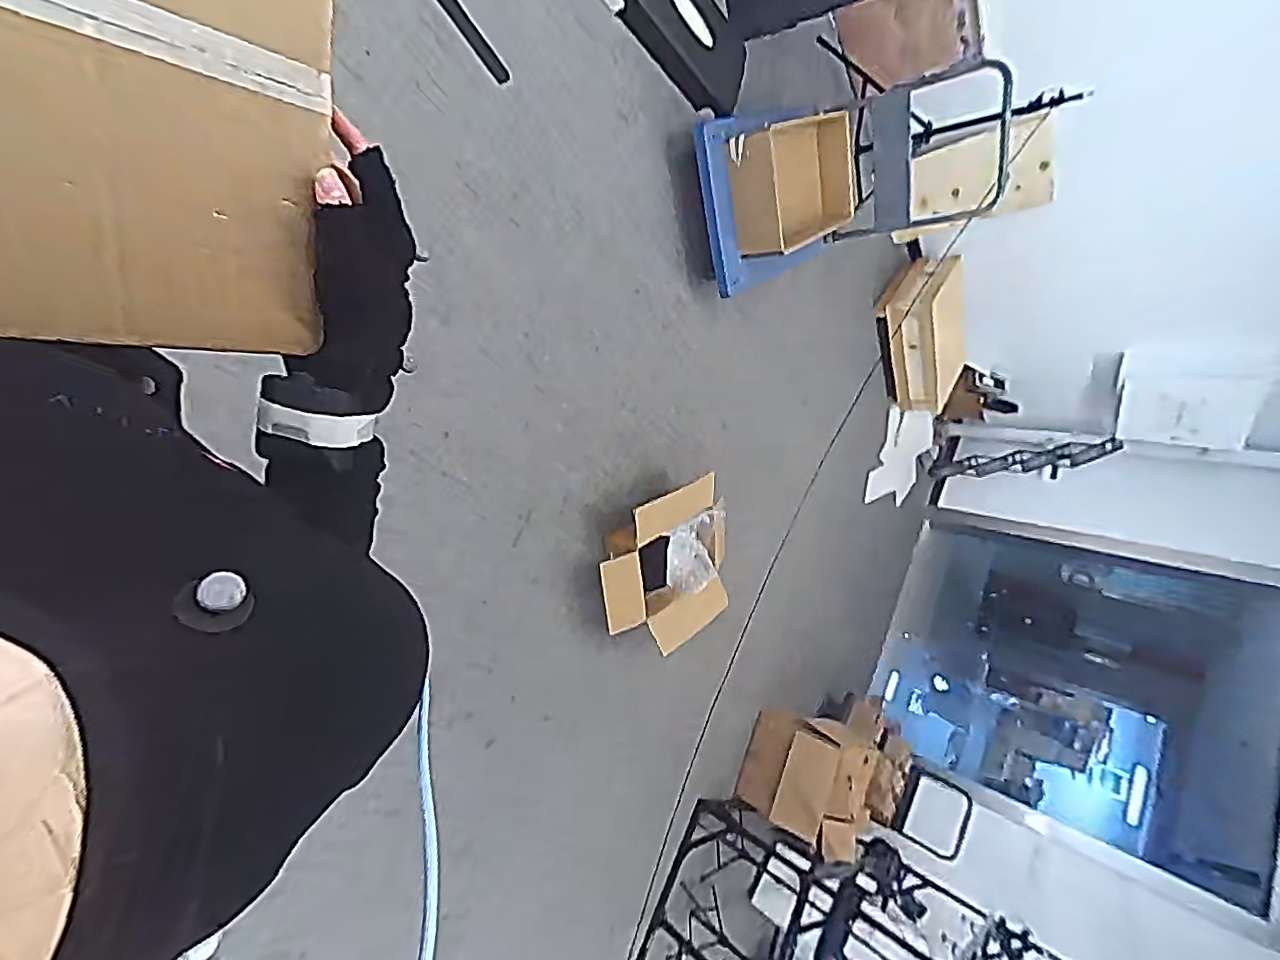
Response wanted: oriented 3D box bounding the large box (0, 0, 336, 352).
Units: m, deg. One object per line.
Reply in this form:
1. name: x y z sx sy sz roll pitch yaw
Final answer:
1. large box: -0.428 -0.271 0.285 0.408 0.320 0.320 -7 122 -44
